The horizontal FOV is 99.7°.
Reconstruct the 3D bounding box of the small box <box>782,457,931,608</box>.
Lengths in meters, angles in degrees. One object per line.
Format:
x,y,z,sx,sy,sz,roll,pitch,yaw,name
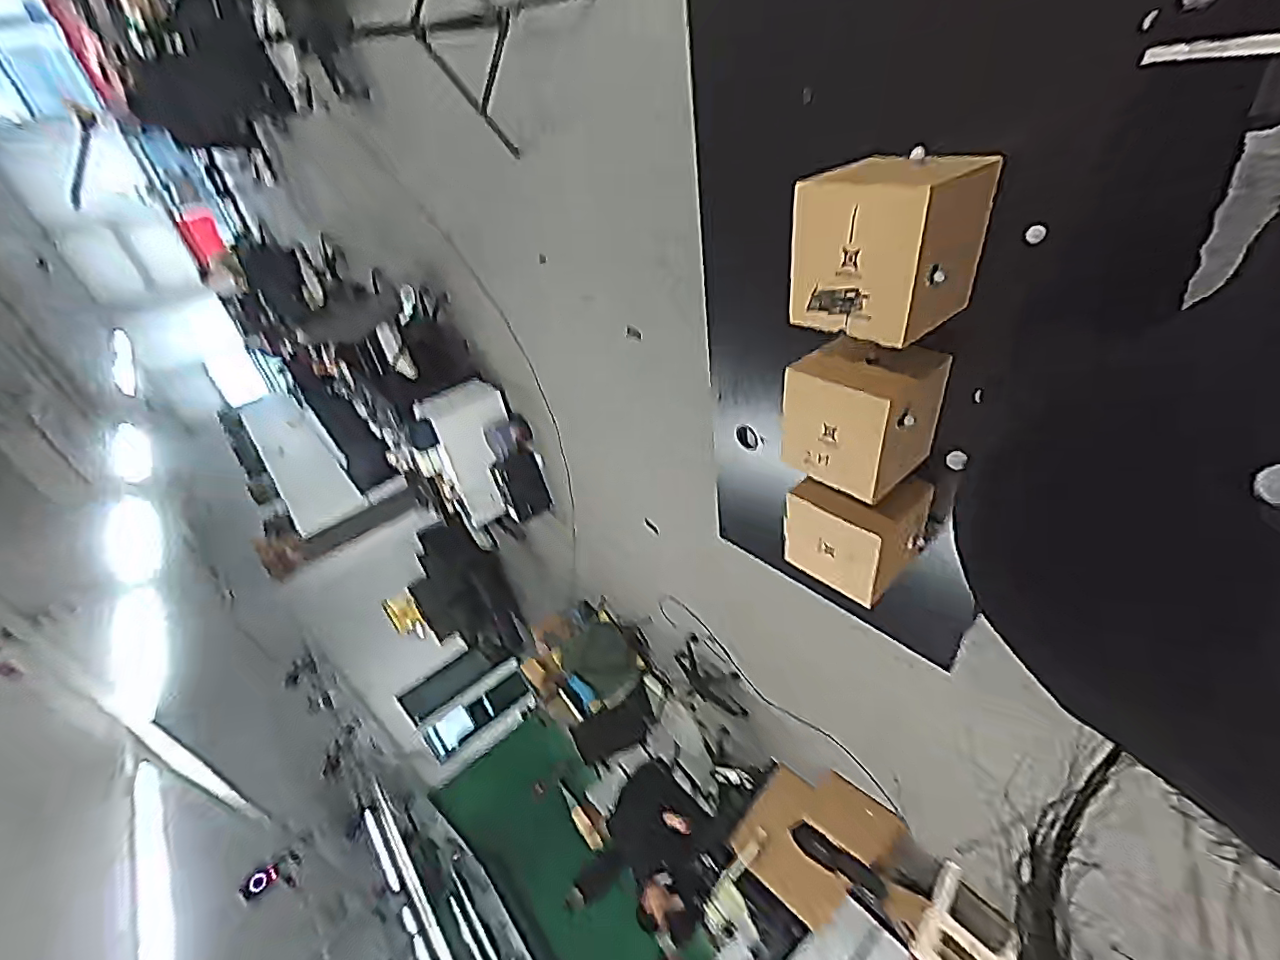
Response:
0.371,0.080,0.946,0.179,0.176,0.168,29,142,41,small box

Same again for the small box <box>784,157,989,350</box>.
0.302,-0.290,0.679,0.168,0.176,0.179,31,141,41,small box
